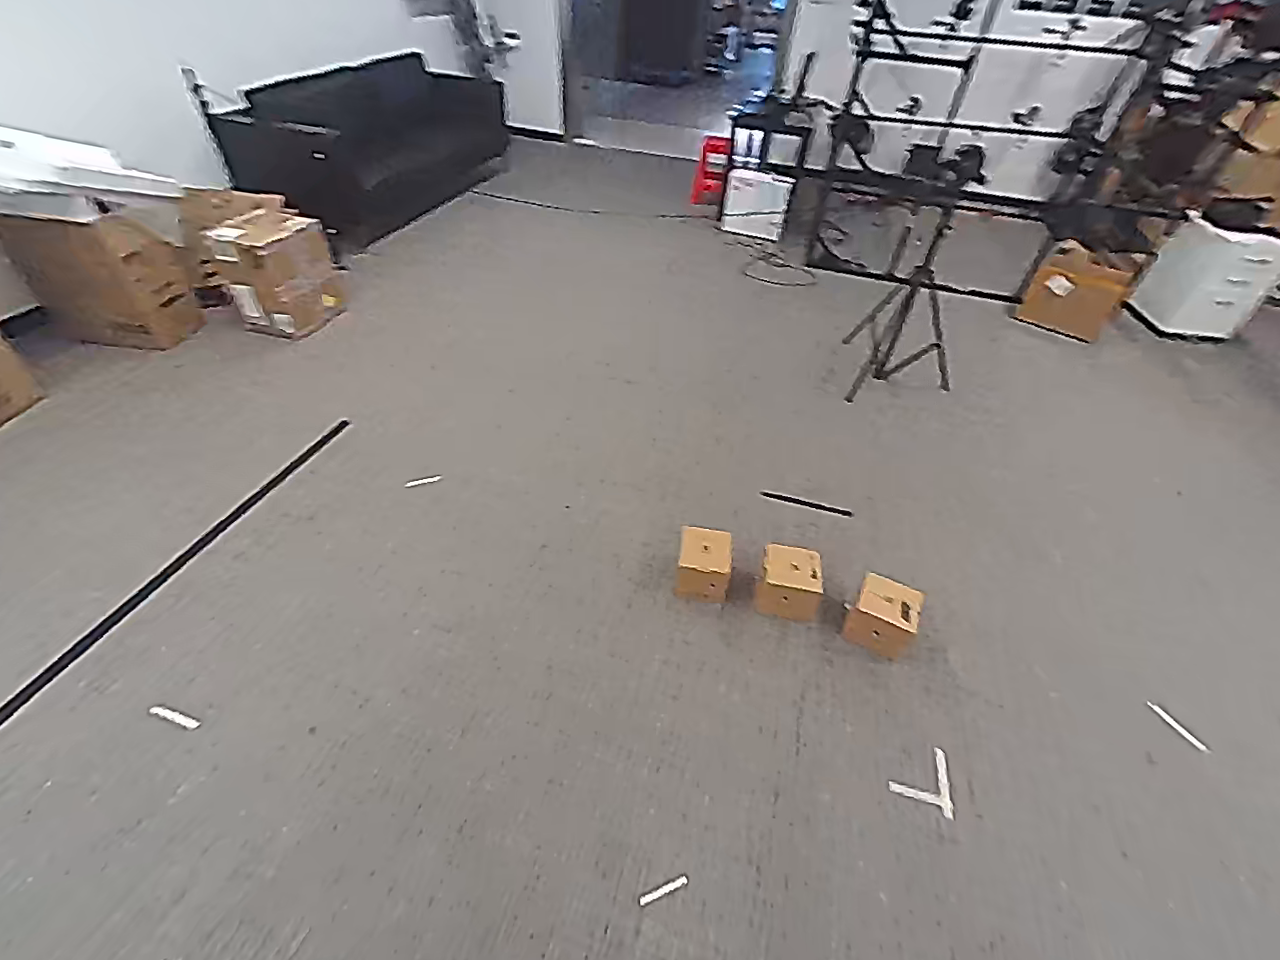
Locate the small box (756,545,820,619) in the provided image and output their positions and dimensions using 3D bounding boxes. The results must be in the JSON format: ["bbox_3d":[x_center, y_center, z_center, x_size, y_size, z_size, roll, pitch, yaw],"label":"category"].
[{"bbox_3d":[0.483,0.341,1.789,0.179,0.176,0.168,9,44,5],"label":"small box"}]

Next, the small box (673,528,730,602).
[{"bbox_3d":[0.206,0.289,1.823,0.168,0.176,0.179,8,43,3],"label":"small box"}]

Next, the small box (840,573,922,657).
[{"bbox_3d":[0.762,0.434,1.715,0.179,0.176,0.168,22,46,18],"label":"small box"}]
